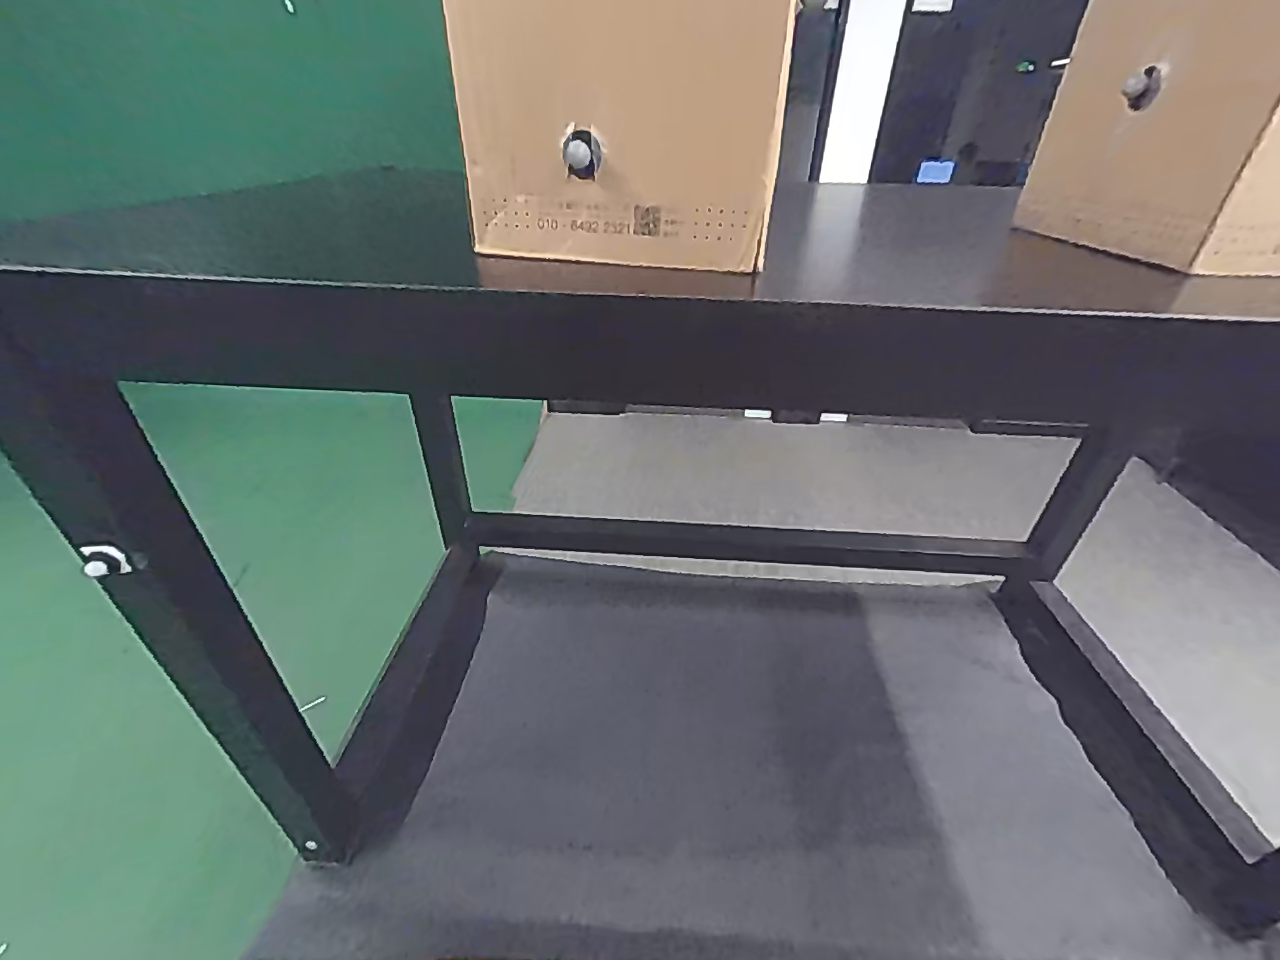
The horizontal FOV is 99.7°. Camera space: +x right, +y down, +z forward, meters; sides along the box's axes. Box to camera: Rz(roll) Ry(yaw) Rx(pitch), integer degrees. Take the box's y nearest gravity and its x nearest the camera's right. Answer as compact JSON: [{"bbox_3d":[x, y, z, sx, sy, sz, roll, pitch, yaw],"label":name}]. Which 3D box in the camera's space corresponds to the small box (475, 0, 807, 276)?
[{"bbox_3d":[0.009,-0.236,0.333,0.168,0.176,0.179,8,34,9],"label":"small box"}]
